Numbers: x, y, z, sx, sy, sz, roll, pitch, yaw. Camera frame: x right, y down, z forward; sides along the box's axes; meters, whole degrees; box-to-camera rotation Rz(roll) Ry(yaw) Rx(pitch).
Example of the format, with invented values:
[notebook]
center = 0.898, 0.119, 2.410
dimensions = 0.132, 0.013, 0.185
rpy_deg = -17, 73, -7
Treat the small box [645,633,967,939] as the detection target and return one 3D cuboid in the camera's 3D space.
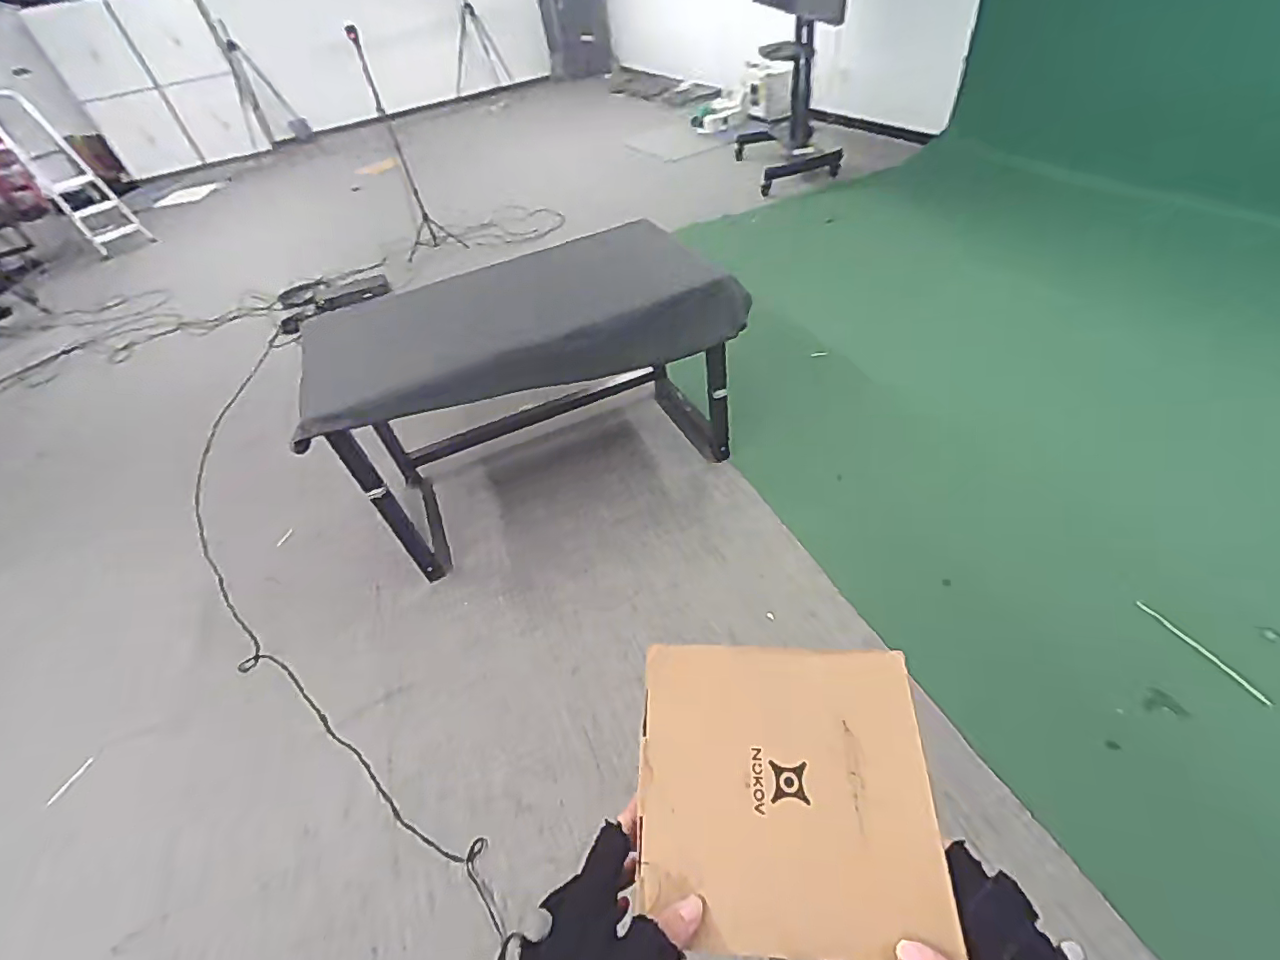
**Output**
[small box]
center = 0.097, 0.220, 0.403
dimensions = 0.179, 0.176, 0.168
rpy_deg = -2, 58, 4
